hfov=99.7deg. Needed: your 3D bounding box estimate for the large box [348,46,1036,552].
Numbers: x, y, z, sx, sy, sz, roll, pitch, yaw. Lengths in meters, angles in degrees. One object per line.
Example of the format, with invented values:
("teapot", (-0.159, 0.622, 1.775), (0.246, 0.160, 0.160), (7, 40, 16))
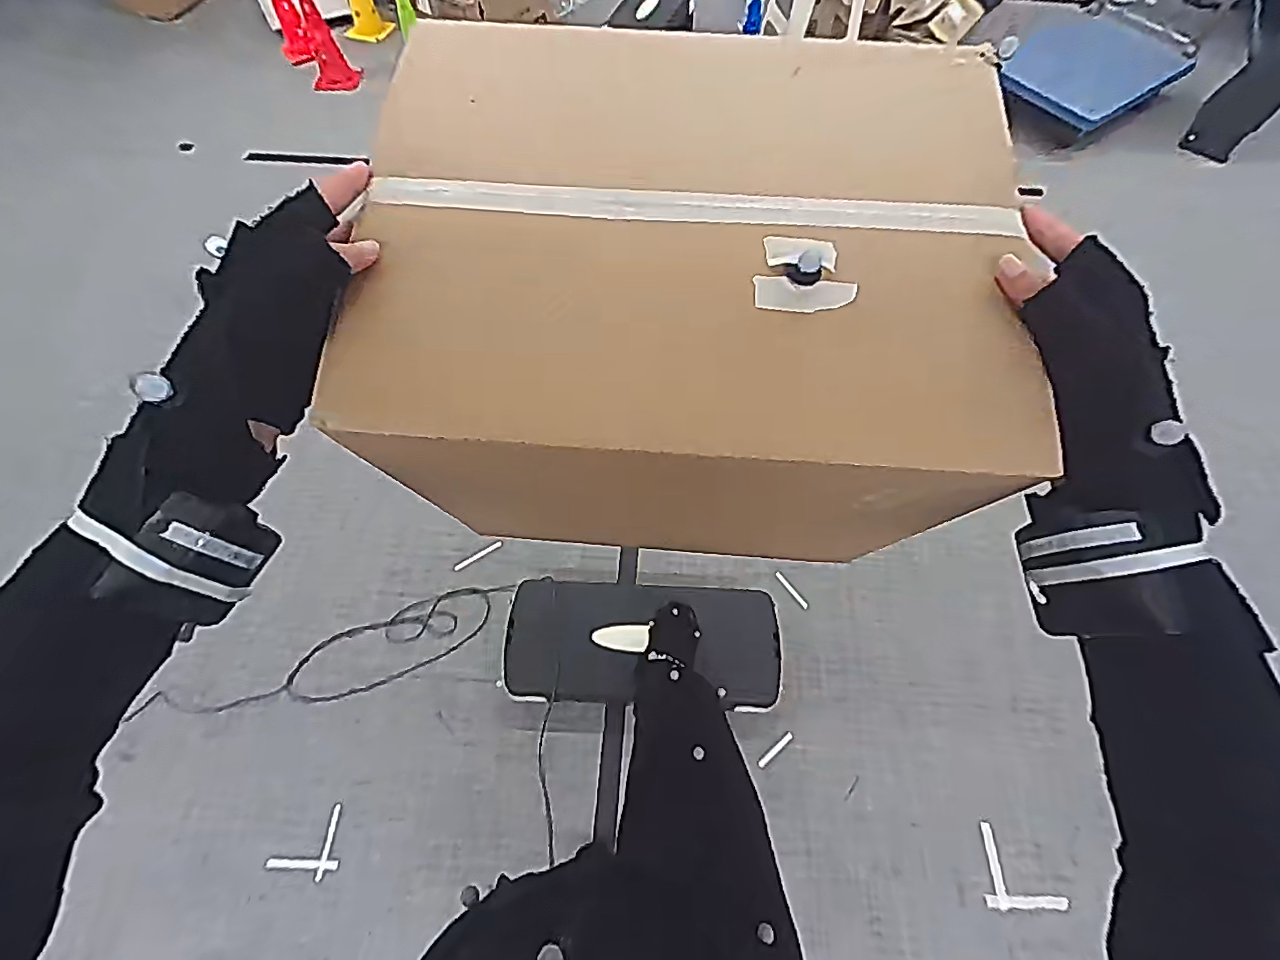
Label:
("large box", (0.034, -0.120, 0.494), (0.408, 0.320, 0.320), (4, 74, 1))
